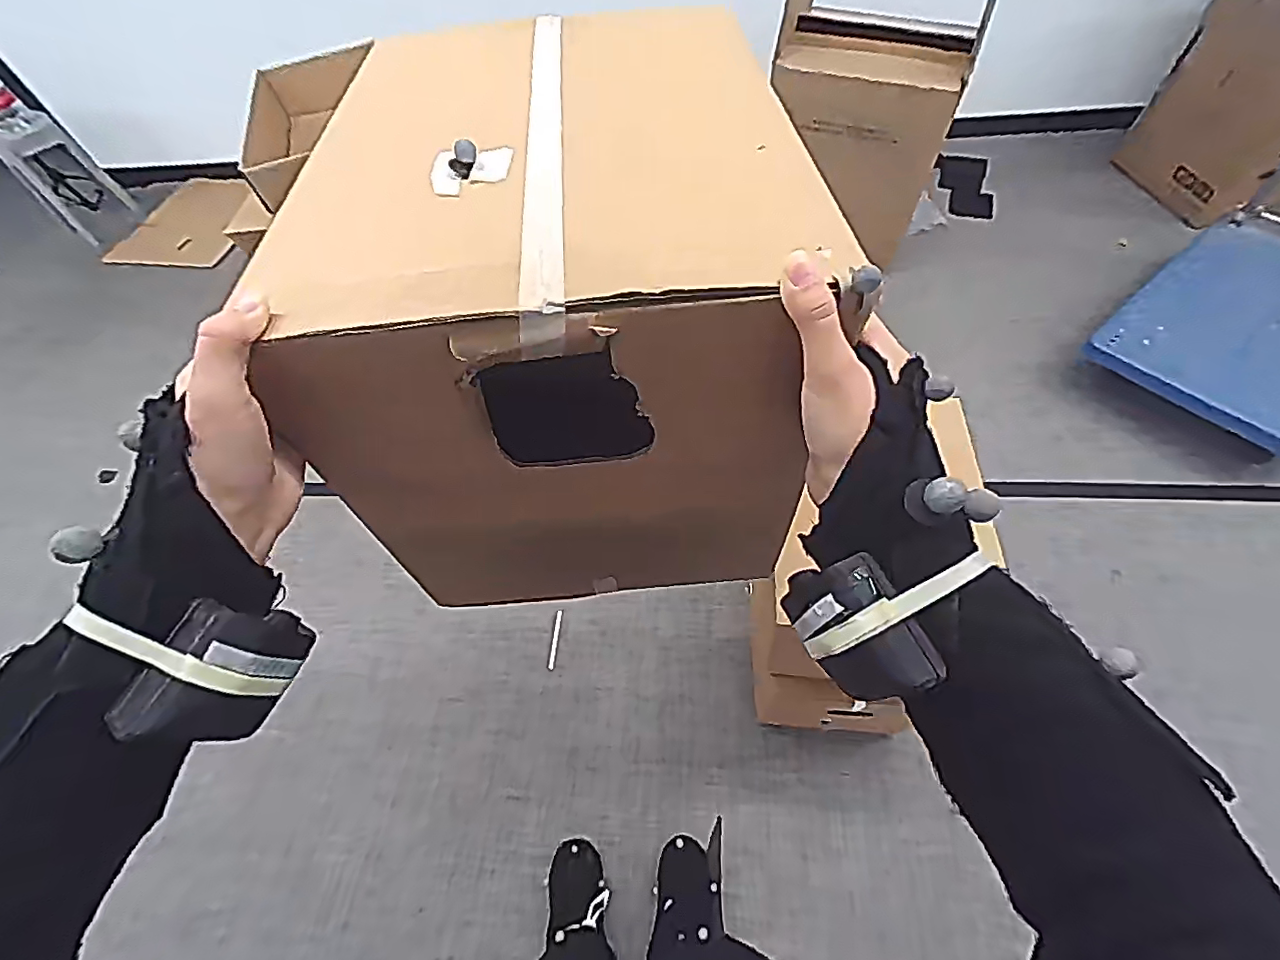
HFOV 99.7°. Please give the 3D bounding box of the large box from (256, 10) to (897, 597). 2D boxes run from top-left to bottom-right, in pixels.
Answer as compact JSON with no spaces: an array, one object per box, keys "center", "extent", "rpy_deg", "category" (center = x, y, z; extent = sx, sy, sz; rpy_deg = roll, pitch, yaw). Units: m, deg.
[{"center":[-0.044,-0.152,0.485],"extent":[0.320,0.320,0.408],"rpy_deg":[-7,56,0],"category":"large box"}]
